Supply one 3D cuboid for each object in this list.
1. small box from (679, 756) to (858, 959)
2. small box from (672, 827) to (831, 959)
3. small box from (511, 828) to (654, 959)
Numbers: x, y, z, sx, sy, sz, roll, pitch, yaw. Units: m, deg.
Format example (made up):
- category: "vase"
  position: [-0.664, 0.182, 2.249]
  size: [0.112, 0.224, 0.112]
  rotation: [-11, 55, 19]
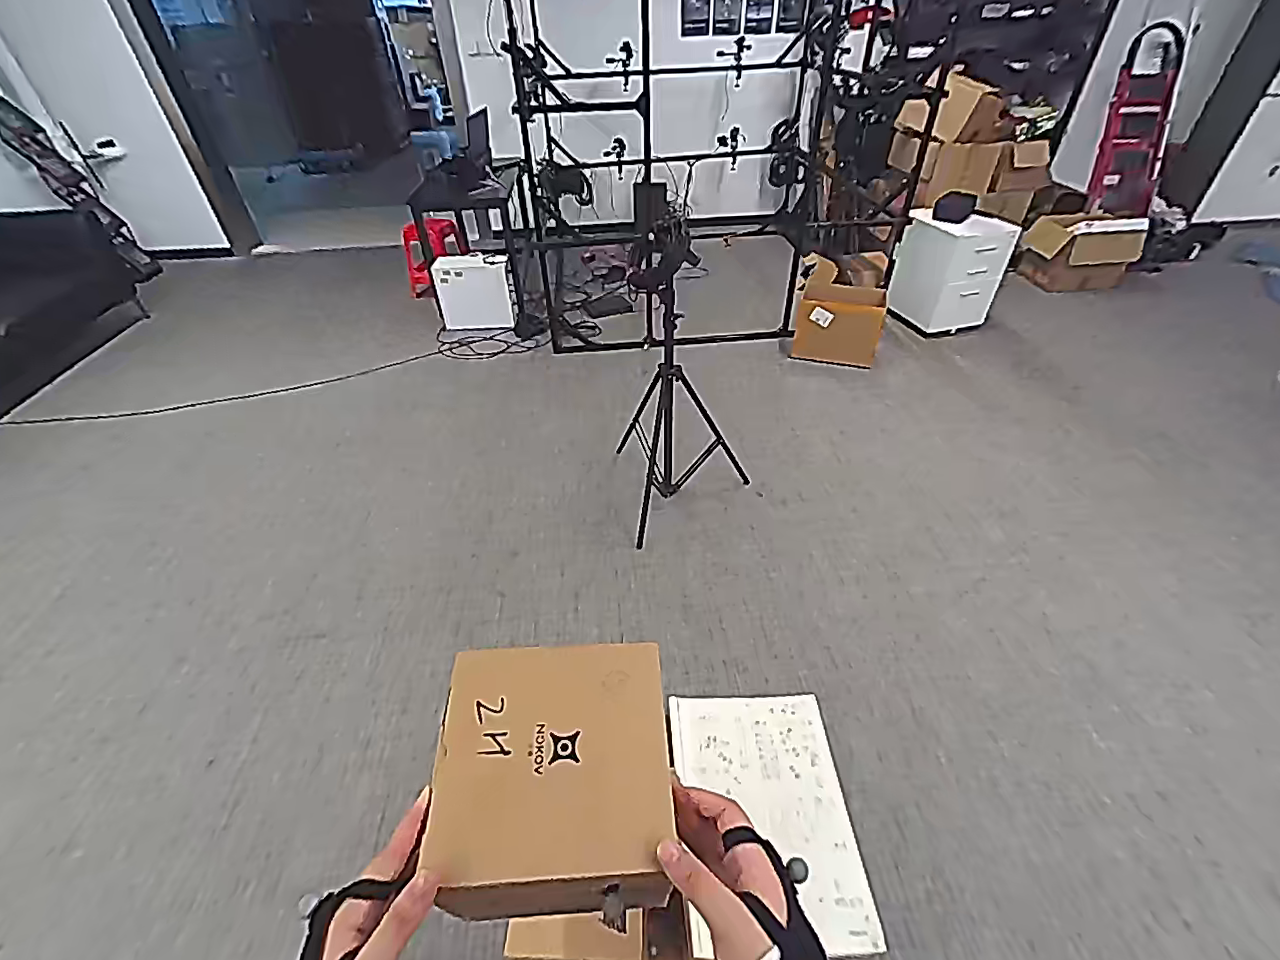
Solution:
- category: "small box"
  position: [0.144, 0.478, 0.683]
  size: [0.168, 0.176, 0.179]
  rotation: [-3, 41, -4]
- category: "small box"
  position: [0.146, 0.606, 0.784]
  size: [0.179, 0.176, 0.168]
  rotation: [-4, 41, -5]
- category: "small box"
  position: [-0.070, 0.620, 0.774]
  size: [0.179, 0.176, 0.168]
  rotation: [-1, 42, 4]
